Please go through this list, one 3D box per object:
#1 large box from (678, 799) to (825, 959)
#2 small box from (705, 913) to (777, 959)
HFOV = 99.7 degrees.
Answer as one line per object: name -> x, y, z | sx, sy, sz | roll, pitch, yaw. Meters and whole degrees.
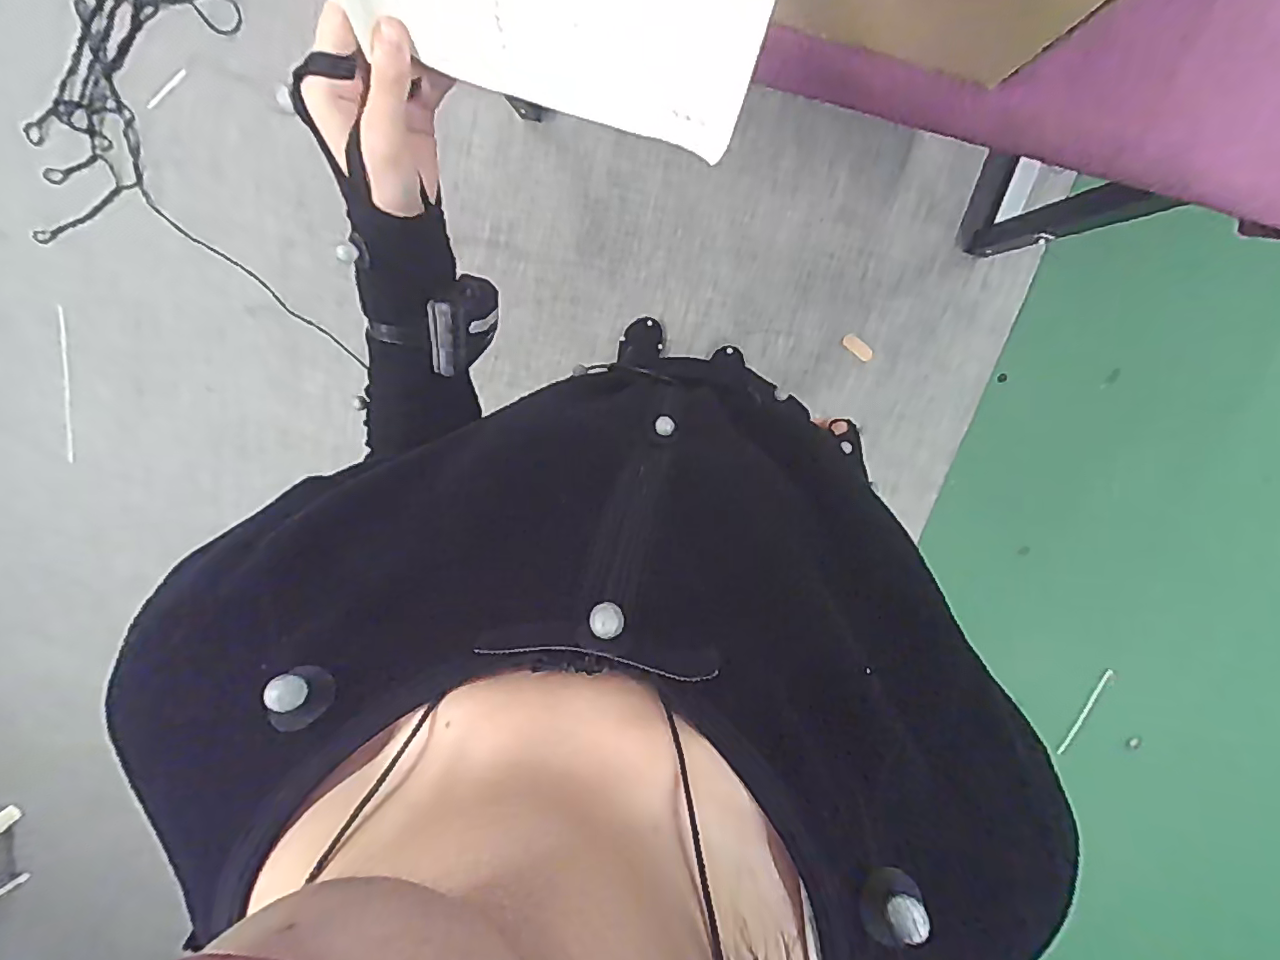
large box -> 0.321, 1.244, 1.678 | 0.408, 0.320, 0.320 | 2, 106, 4
small box -> 0.272, 1.306, 1.443 | 0.179, 0.176, 0.168 | 5, 103, 4
